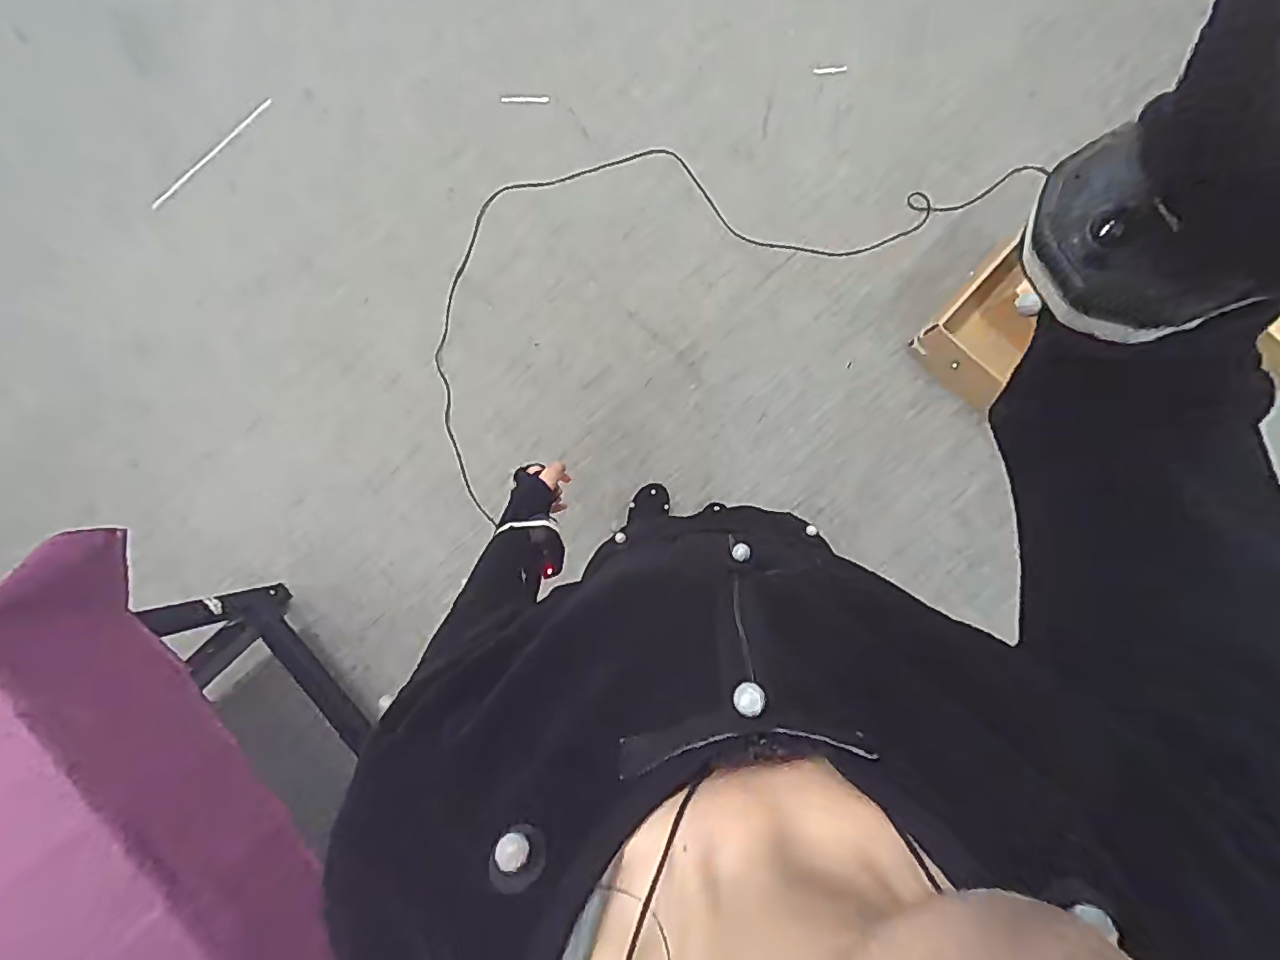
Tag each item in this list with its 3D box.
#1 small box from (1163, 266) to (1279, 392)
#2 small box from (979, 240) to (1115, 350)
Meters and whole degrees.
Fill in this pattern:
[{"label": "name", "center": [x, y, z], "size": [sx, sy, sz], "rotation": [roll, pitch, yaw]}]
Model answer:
[{"label": "small box", "center": [1.169, -0.283, 1.013], "size": [0.168, 0.176, 0.179], "rotation": [-41, 86, 1]}, {"label": "small box", "center": [1.007, -0.454, 1.357], "size": [0.179, 0.176, 0.168], "rotation": [43, 92, 2]}]
